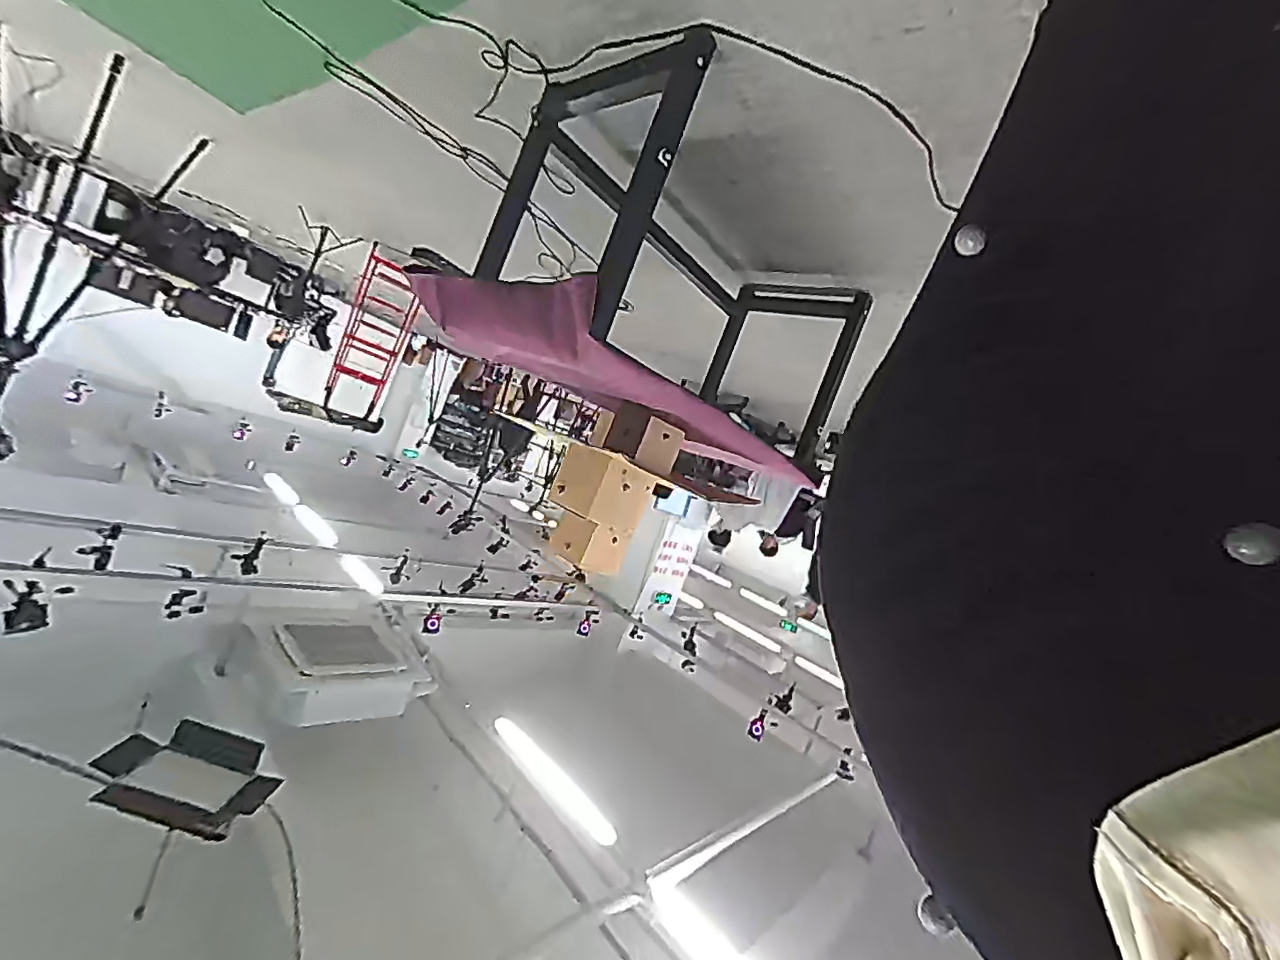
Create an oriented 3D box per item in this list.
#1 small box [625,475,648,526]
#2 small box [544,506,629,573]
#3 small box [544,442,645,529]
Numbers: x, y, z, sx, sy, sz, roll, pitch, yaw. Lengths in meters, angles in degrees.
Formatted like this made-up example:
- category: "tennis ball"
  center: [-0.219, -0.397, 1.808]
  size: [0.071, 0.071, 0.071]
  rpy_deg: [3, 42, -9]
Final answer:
- category: "small box"
  center: [-0.096, 0.025, 1.702]
  size: [0.179, 0.176, 0.168]
  rpy_deg: [22, 178, 43]
- category: "small box"
  center: [-0.164, 0.172, 1.704]
  size: [0.179, 0.176, 0.168]
  rpy_deg: [20, 176, 44]
- category: "small box"
  center: [-0.117, 0.009, 1.438]
  size: [0.179, 0.176, 0.168]
  rpy_deg: [21, 179, 42]
